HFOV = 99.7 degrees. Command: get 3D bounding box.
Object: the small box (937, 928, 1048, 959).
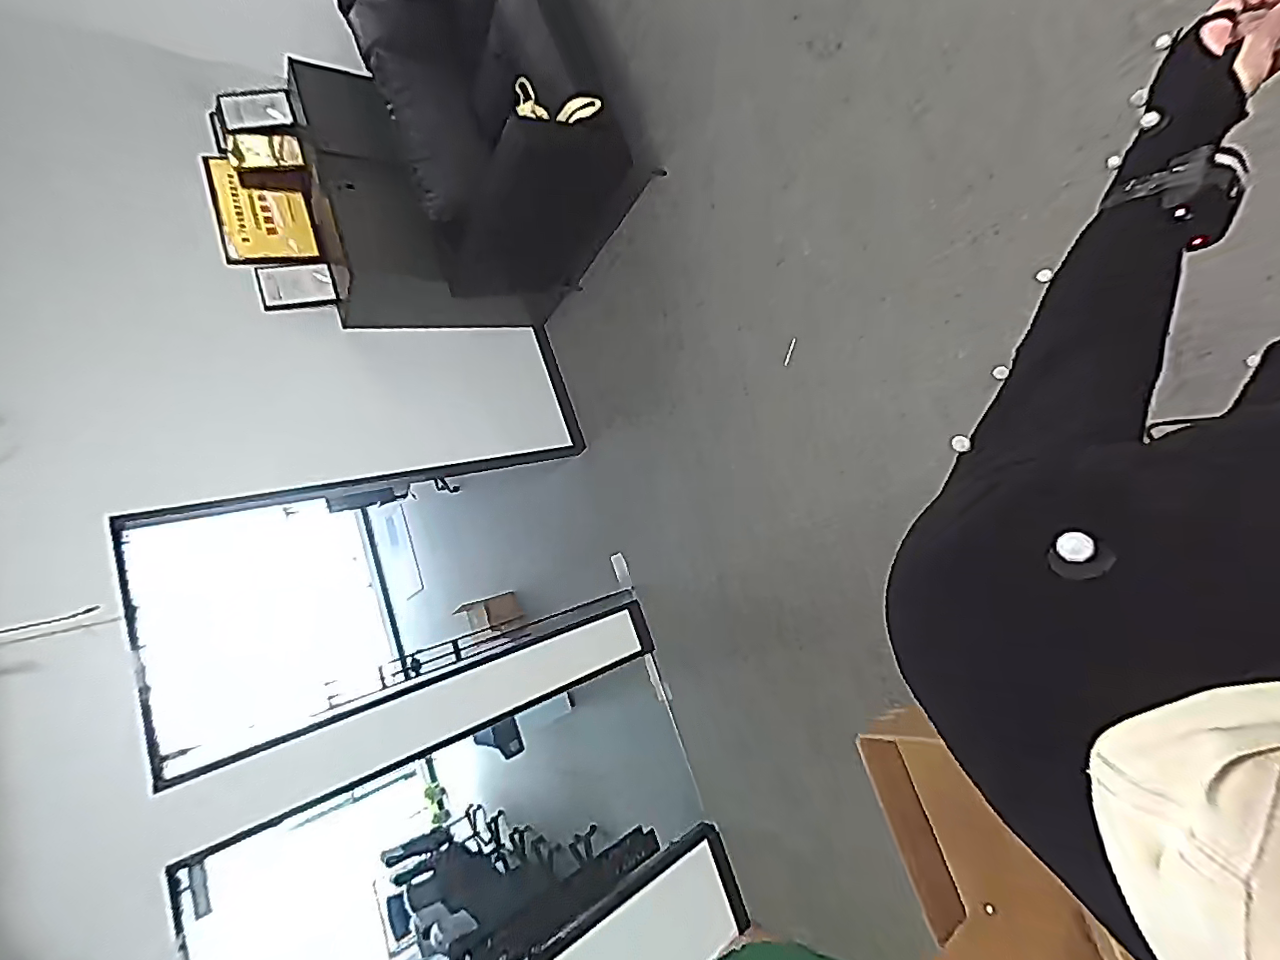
[{"bbox_3d":[0.694,1.019,1.039,0.179,0.176,0.168,-29,77,53],"label":"small box"}]
